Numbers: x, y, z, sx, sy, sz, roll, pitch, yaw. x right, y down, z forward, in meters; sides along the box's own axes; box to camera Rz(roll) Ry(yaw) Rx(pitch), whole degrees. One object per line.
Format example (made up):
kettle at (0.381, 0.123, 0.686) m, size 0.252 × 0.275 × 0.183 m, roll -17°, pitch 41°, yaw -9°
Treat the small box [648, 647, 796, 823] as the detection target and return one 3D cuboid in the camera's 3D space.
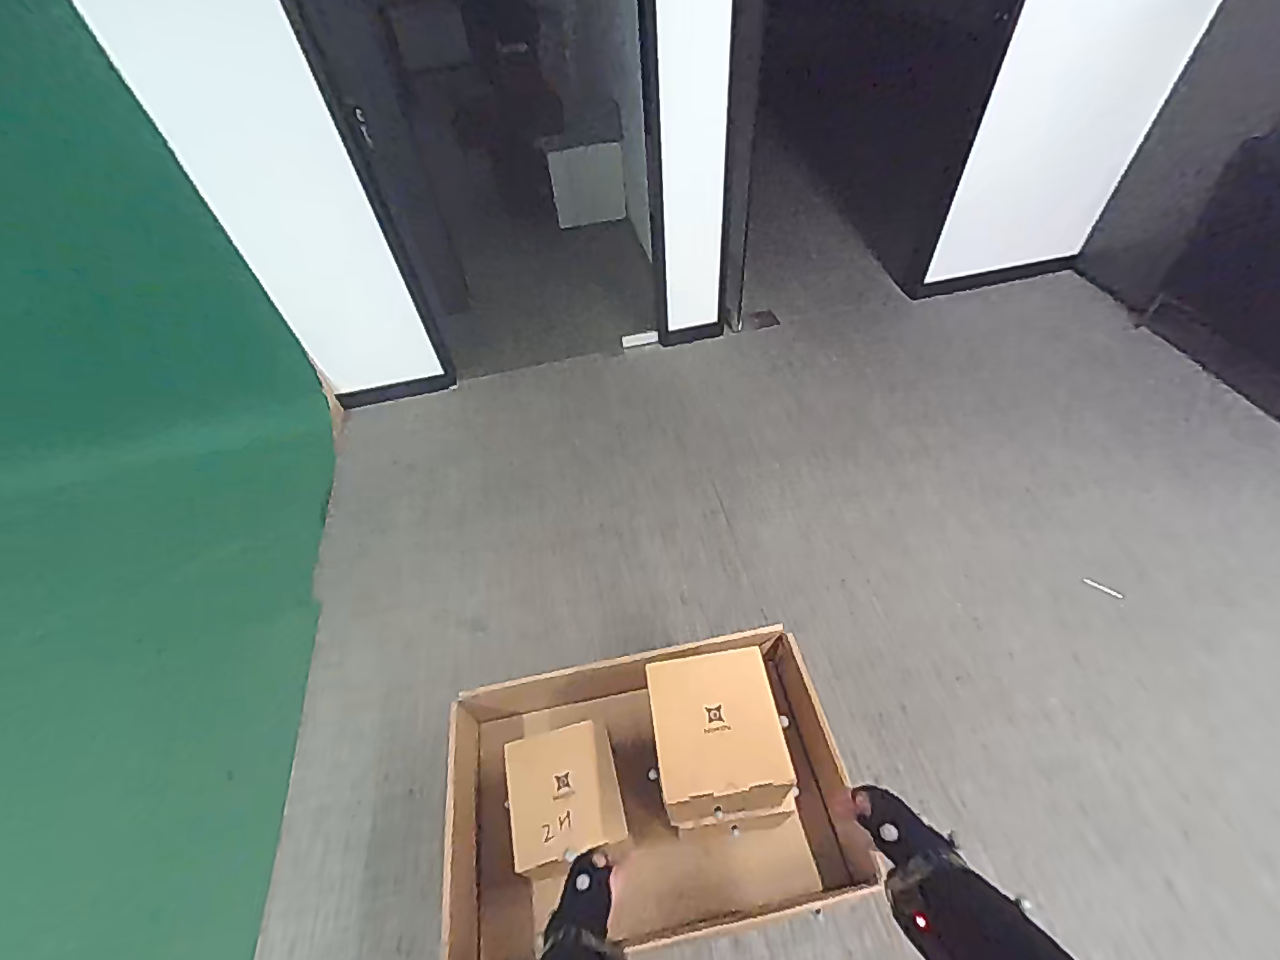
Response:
small box at (0.105, 0.363, 0.768) m, size 0.168 × 0.176 × 0.179 m, roll -9°, pitch 50°, yaw -1°
